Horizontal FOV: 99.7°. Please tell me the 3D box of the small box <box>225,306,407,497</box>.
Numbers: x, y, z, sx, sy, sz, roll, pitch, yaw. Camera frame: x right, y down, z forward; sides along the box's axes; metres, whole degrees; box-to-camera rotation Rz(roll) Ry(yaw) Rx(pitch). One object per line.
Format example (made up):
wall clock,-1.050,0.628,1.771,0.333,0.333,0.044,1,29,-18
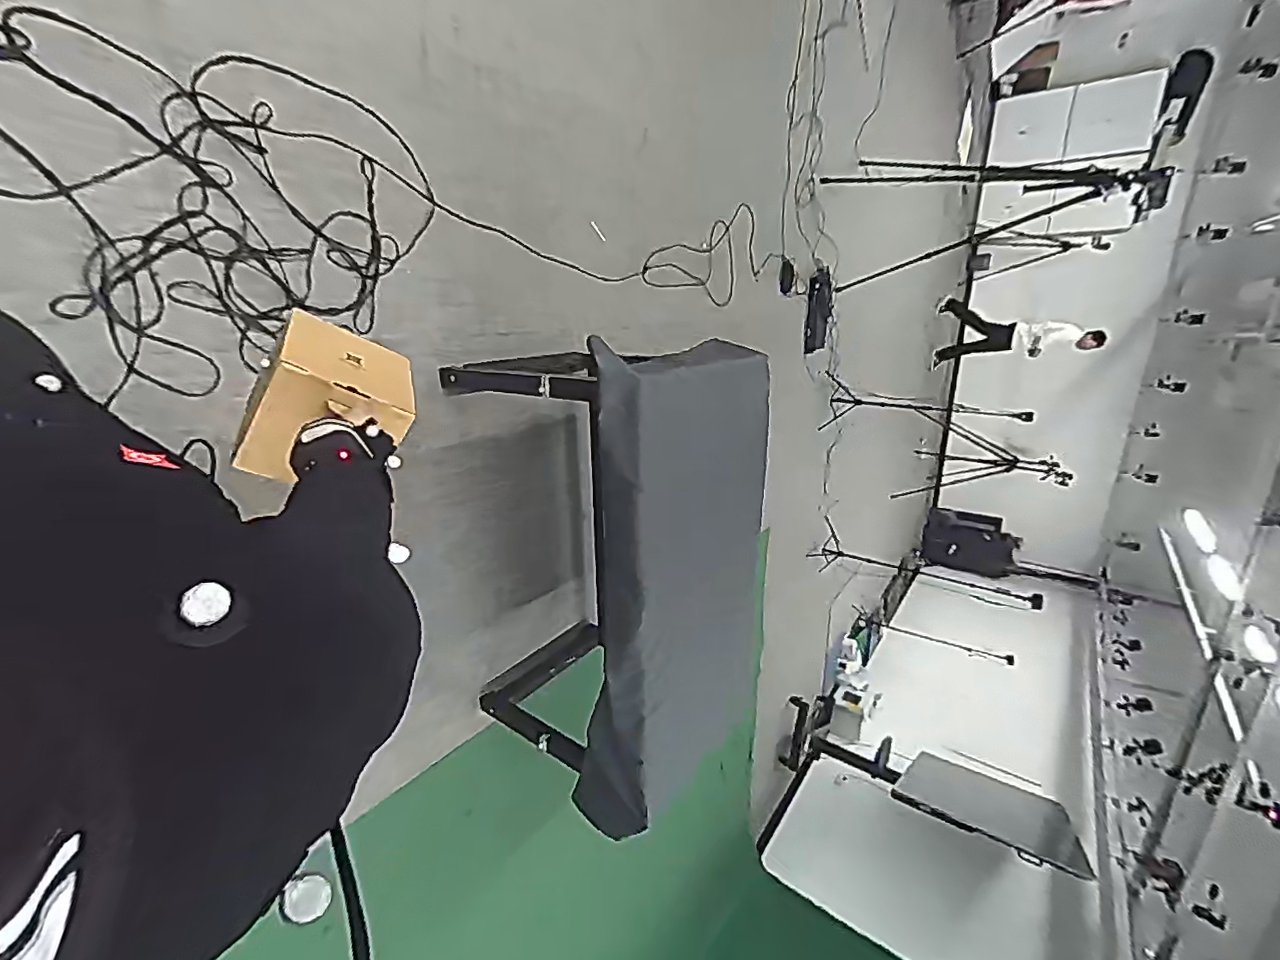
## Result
small box,-0.452,-0.107,0.764,0.168,0.179,0.176,23,114,-40
